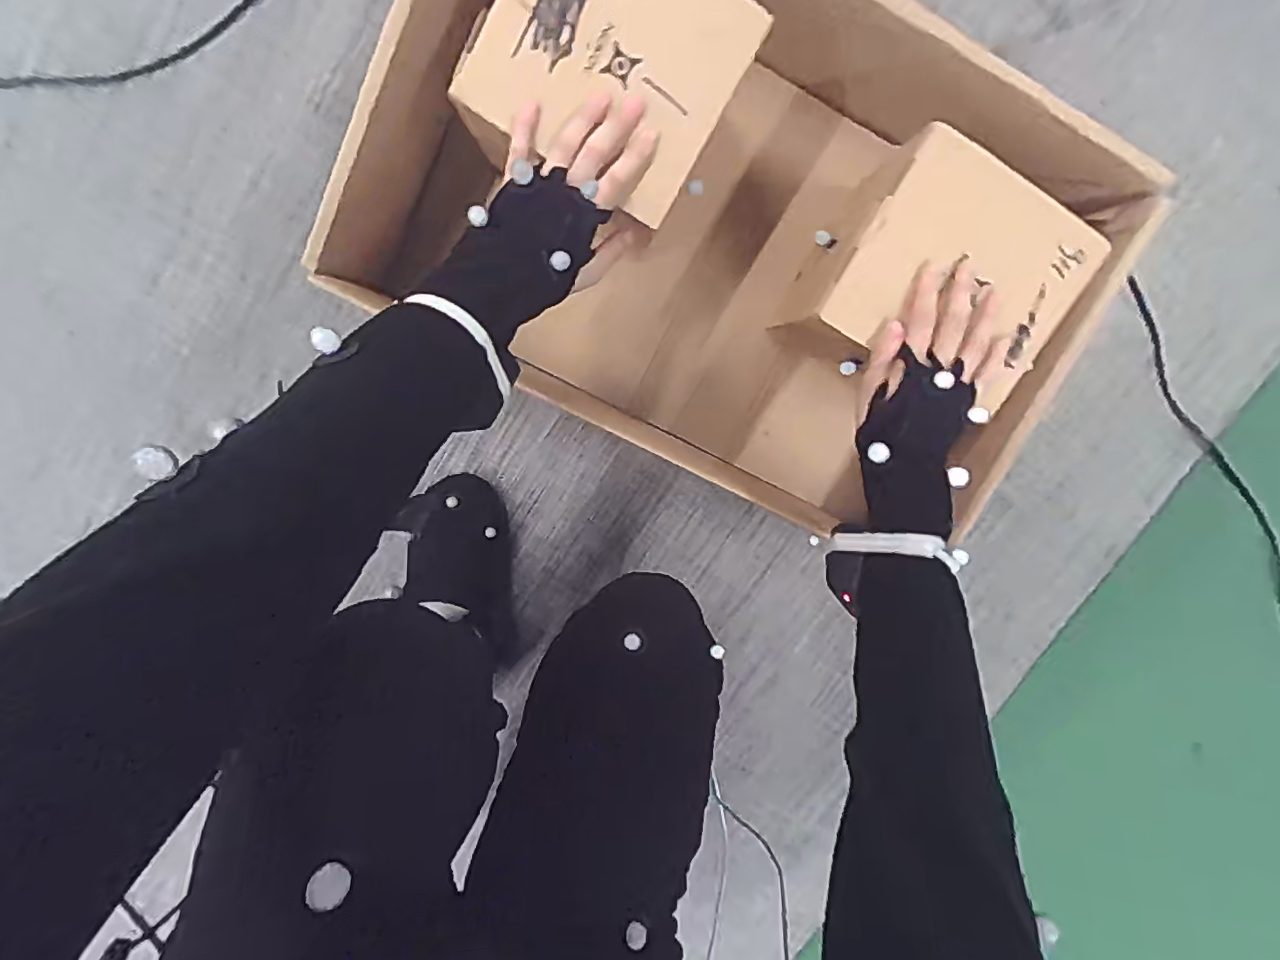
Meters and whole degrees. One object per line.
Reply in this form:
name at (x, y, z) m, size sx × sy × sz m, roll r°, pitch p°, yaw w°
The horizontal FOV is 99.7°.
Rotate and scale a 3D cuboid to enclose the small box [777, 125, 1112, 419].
small box at (0.255, -0.172, 0.505) m, size 0.179 × 0.176 × 0.168 m, roll 30°, pitch 99°, yaw -6°
